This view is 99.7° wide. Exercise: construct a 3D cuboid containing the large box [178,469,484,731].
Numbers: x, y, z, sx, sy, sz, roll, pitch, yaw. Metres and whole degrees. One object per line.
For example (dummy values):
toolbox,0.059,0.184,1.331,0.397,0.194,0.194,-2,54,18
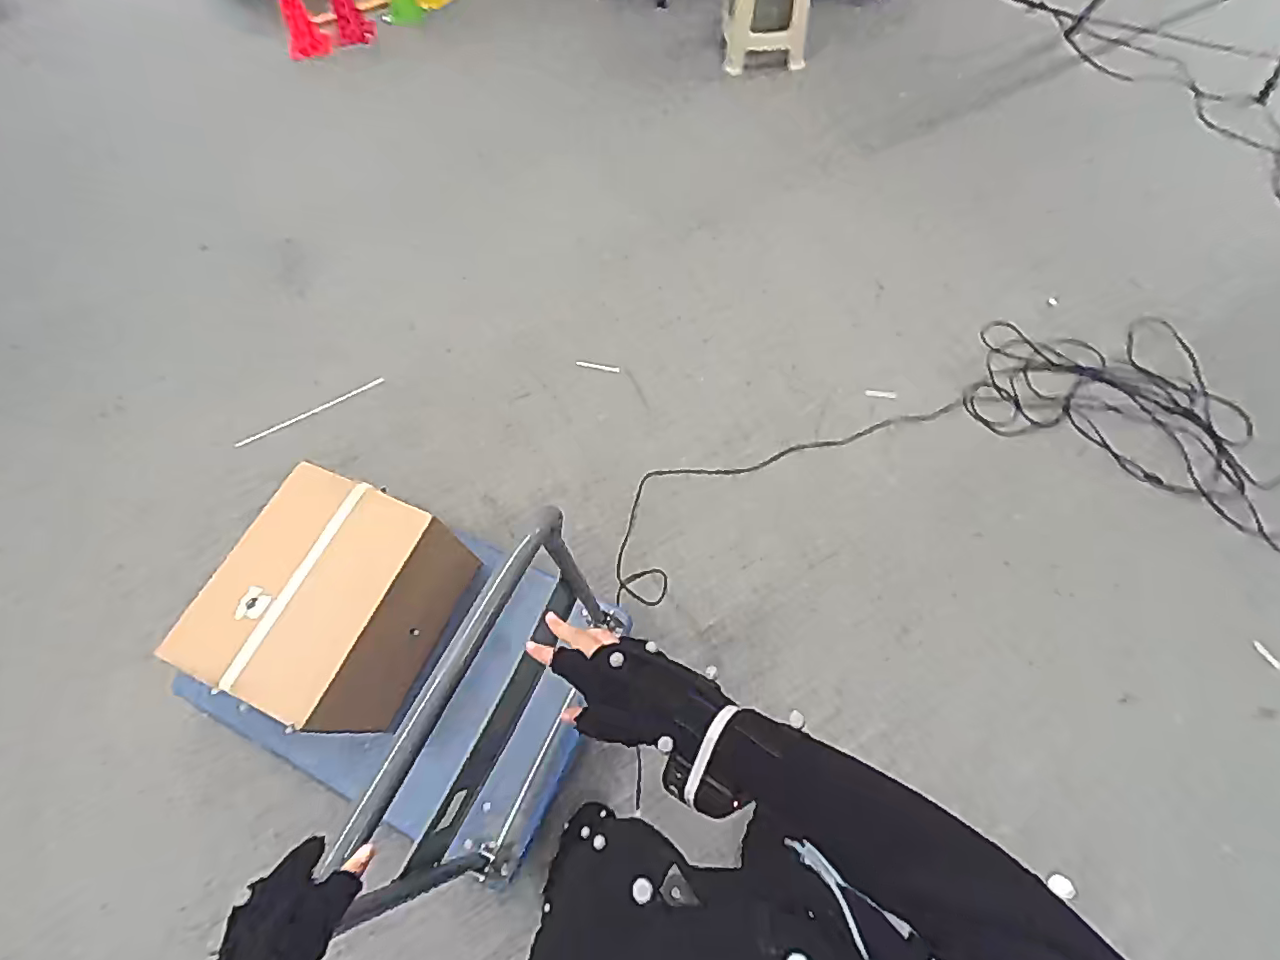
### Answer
large box,-0.585,0.252,1.117,0.320,0.320,0.408,20,68,12
